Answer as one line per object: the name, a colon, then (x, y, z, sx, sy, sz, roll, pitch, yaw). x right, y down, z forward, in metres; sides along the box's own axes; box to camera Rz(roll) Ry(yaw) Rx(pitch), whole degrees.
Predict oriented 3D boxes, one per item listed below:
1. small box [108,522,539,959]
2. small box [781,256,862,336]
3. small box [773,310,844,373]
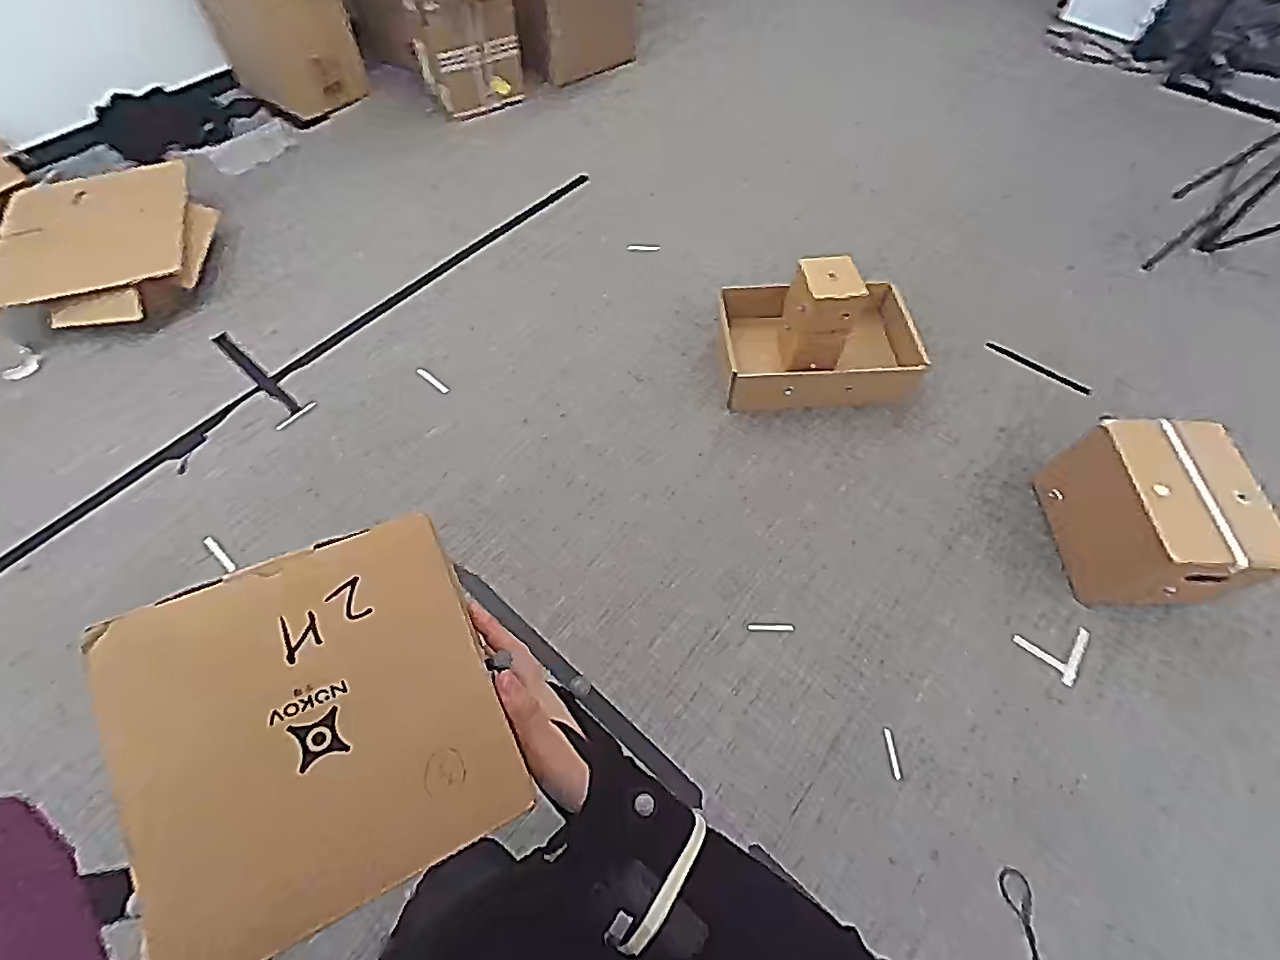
small box: (-0.174, 0.150, 0.349, 0.168, 0.176, 0.179, -20, 77, -20)
small box: (0.552, -0.561, 1.669, 0.168, 0.176, 0.179, -7, 60, -6)
small box: (0.556, -0.479, 1.809, 0.168, 0.176, 0.179, -3, 61, -2)
